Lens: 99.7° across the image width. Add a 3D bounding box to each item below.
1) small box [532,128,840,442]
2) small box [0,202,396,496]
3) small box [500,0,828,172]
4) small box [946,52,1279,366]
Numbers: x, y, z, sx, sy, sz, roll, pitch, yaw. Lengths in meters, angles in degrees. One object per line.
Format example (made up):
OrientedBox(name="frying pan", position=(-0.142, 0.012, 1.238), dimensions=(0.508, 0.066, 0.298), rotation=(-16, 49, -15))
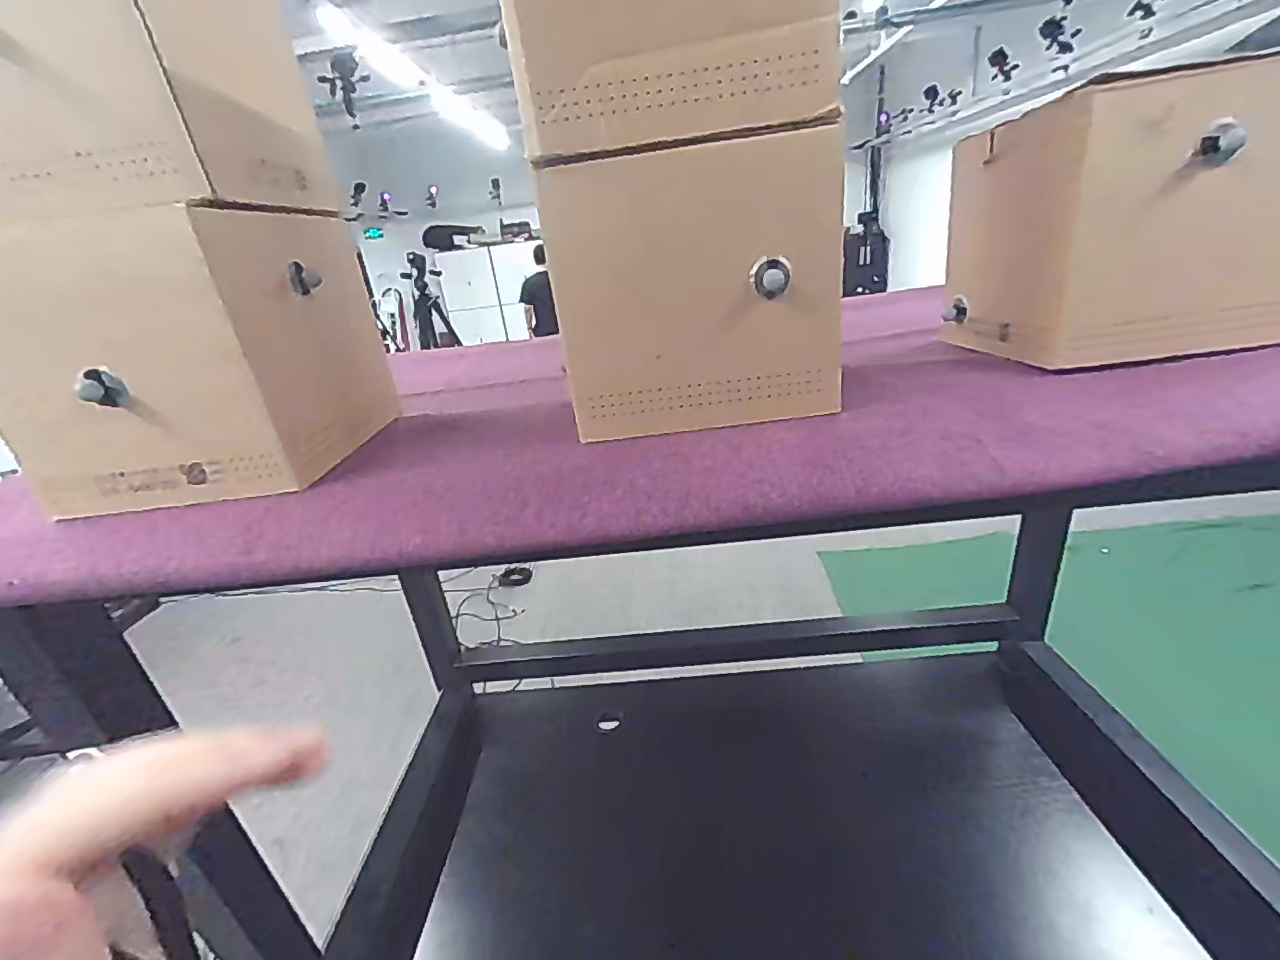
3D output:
OrientedBox(name="small box", position=(0.035, -0.138, 0.404), dimensions=(0.179, 0.176, 0.168), rotation=(-8, 22, 3))
OrientedBox(name="small box", position=(-0.304, -0.094, 0.394), dimensions=(0.168, 0.176, 0.179), rotation=(-6, 23, 1))
OrientedBox(name="small box", position=(0.009, -0.288, 0.343), dimensions=(0.179, 0.176, 0.168), rotation=(-7, 22, 1))
OrientedBox(name="small box", position=(0.355, -0.186, 0.408), dimensions=(0.179, 0.176, 0.168), rotation=(-6, 21, 5))
